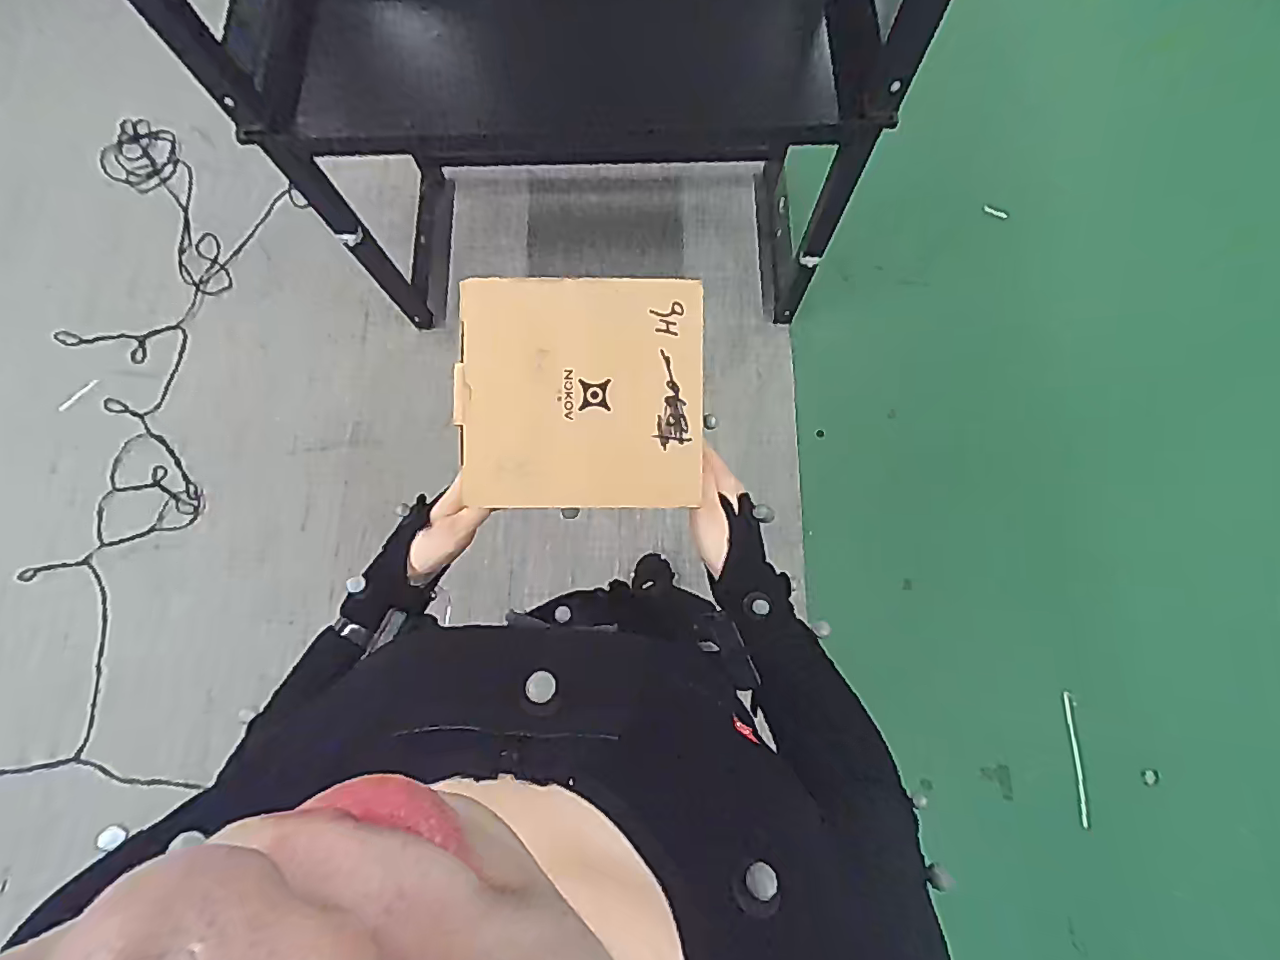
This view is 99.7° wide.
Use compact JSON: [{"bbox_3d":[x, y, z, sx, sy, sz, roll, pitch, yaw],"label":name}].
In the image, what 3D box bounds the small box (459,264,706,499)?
[{"bbox_3d":[-0.041,-0.073,0.465,0.179,0.176,0.168,1,94,-1],"label":"small box"}]
